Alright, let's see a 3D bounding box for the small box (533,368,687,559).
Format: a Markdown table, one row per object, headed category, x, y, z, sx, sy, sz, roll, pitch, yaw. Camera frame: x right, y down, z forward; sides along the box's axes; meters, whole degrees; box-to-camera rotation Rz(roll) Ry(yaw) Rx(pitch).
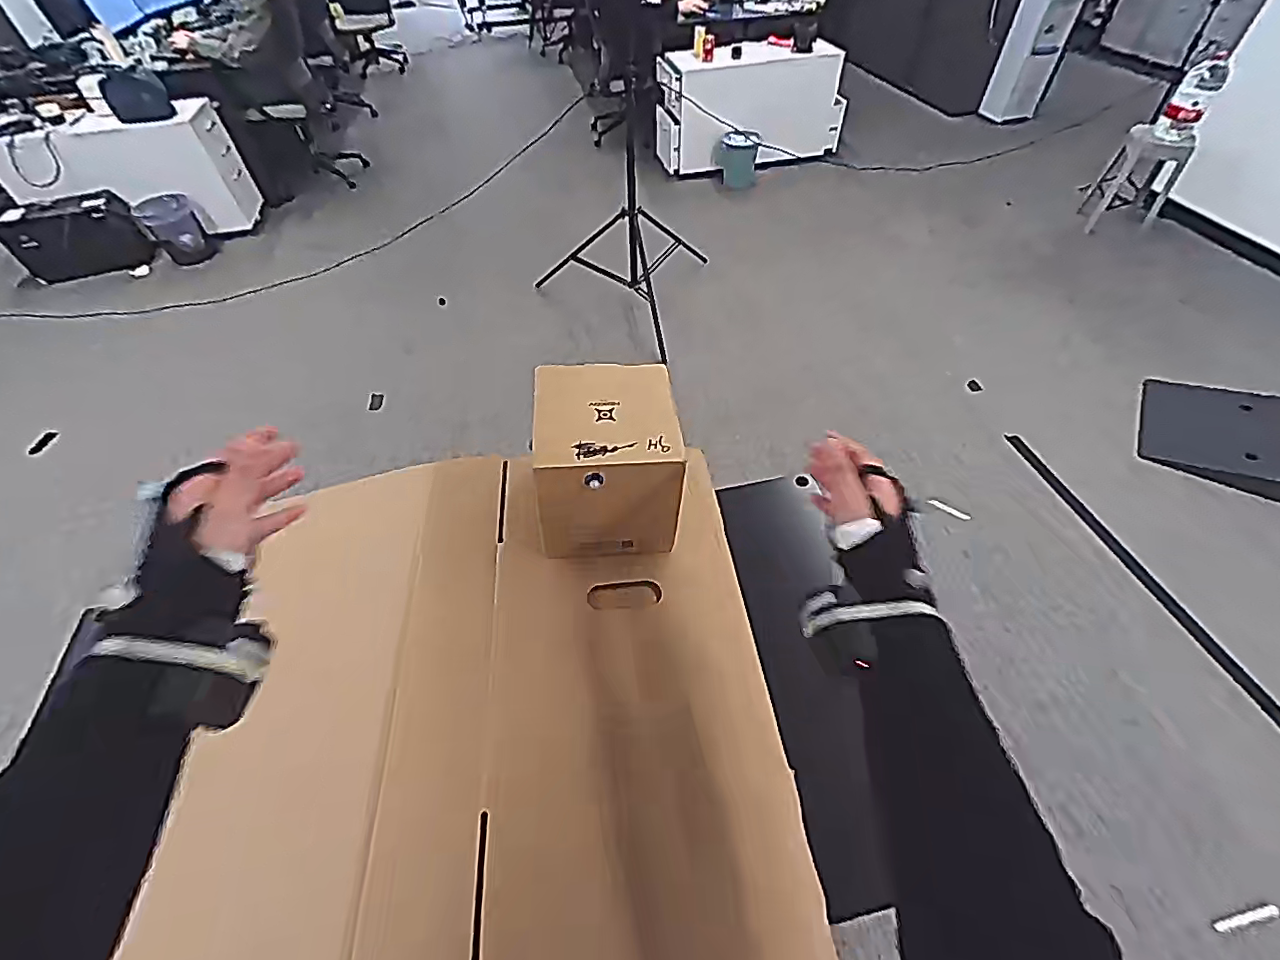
| category | x | y | z | sx | sy | sz | roll | pitch | yaw |
| --- | --- | --- | --- | --- | --- | --- | --- | --- | --- |
| small box | -0.042 | -0.022 | 0.682 | 0.168 | 0.176 | 0.179 | -3 | 48 | -6 |
